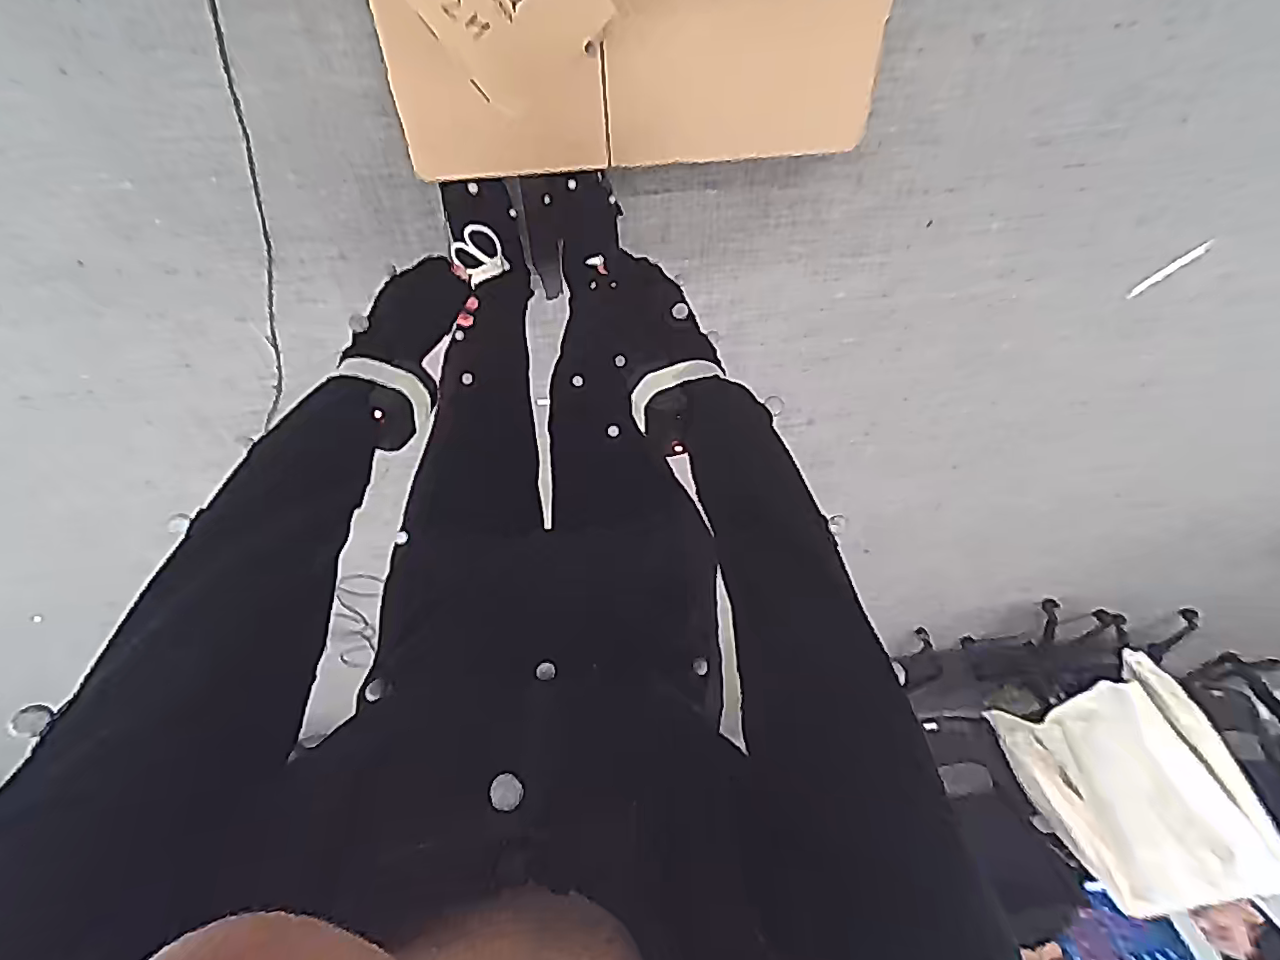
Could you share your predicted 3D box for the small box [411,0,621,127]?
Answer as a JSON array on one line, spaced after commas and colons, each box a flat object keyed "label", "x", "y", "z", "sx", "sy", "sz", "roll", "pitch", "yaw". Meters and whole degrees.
[{"label": "small box", "x": -0.147, "y": -0.571, "z": 0.643, "sx": 0.179, "sy": 0.176, "sz": 0.168, "roll": -33, "pitch": 128, "yaw": 20}]
